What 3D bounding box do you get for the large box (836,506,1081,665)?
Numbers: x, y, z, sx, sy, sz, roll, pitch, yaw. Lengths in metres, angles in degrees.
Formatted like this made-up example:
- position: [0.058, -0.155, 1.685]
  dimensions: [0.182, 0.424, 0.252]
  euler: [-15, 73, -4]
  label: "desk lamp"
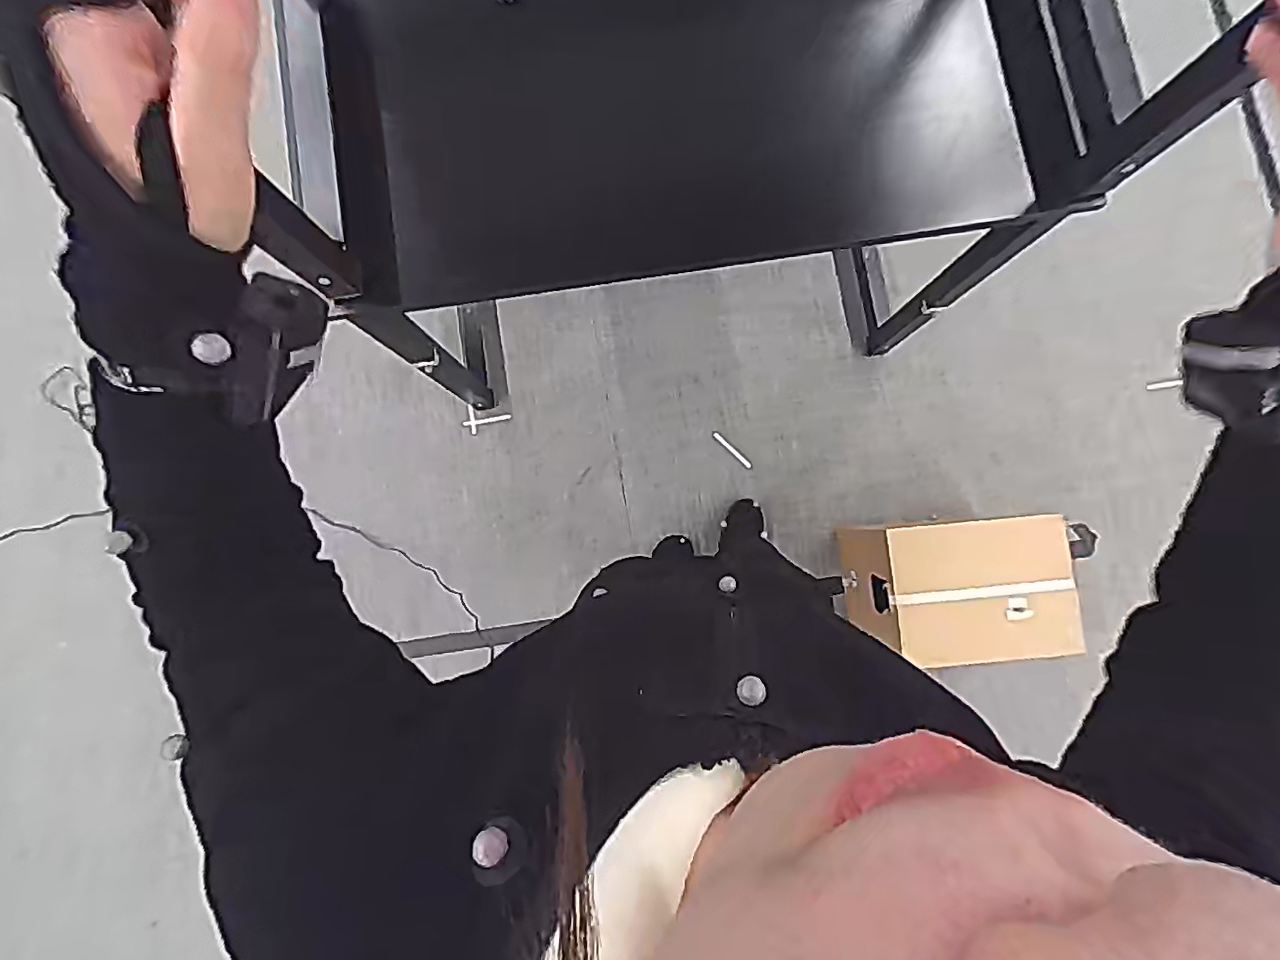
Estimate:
- position: [0.753, 0.244, 1.341]
  dimensions: [0.408, 0.320, 0.320]
  euler: [-5, 86, -1]
  label: "large box"
